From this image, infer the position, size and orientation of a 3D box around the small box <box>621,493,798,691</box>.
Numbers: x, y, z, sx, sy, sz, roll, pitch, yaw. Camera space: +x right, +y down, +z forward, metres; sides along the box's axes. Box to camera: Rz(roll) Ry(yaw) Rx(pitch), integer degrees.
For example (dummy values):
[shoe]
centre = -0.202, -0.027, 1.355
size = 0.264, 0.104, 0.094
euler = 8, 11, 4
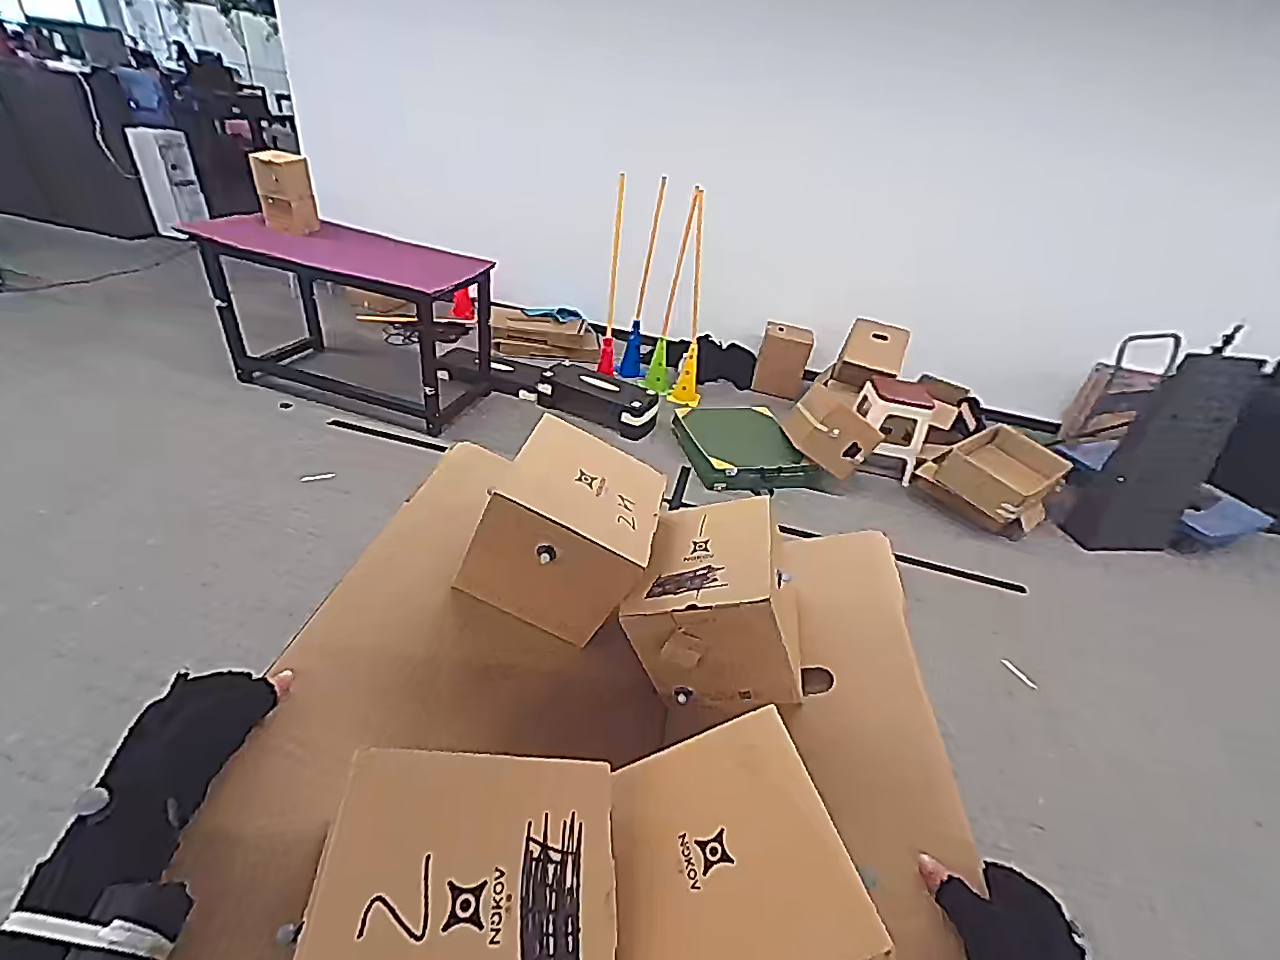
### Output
[small box]
centre = 0.096, 0.143, 0.670
size = 0.168, 0.176, 0.179
euler = -10, 32, 20
